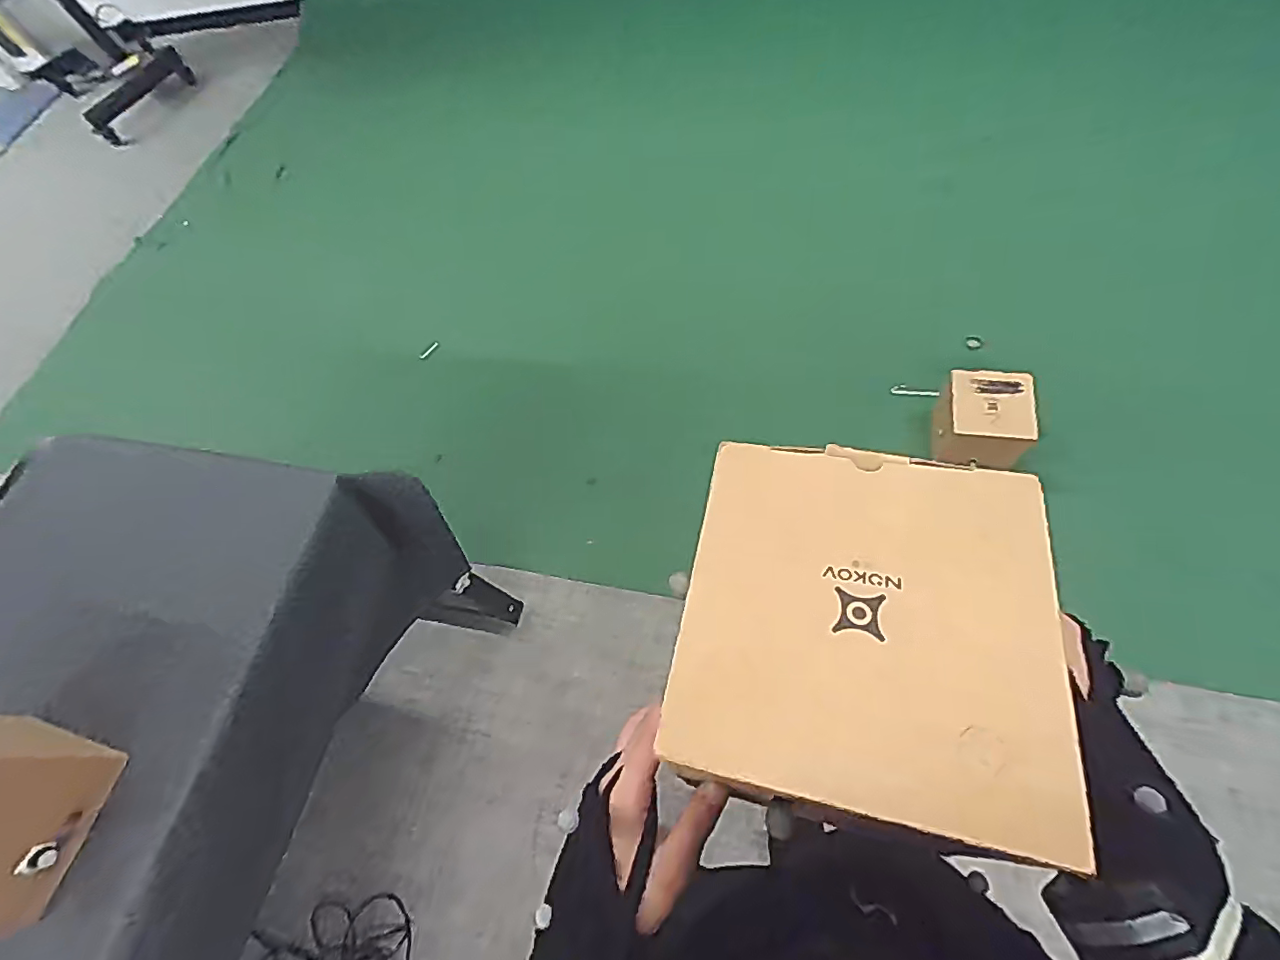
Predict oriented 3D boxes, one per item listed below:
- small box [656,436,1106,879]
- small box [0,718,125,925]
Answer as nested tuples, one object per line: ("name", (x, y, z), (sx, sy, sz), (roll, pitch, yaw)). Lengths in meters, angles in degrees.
("small box", (0.119, 0.099, 0.314), (0.168, 0.176, 0.179), (7, 58, 16))
("small box", (-0.695, 0.340, 0.537), (0.179, 0.176, 0.168), (8, 67, 15))
